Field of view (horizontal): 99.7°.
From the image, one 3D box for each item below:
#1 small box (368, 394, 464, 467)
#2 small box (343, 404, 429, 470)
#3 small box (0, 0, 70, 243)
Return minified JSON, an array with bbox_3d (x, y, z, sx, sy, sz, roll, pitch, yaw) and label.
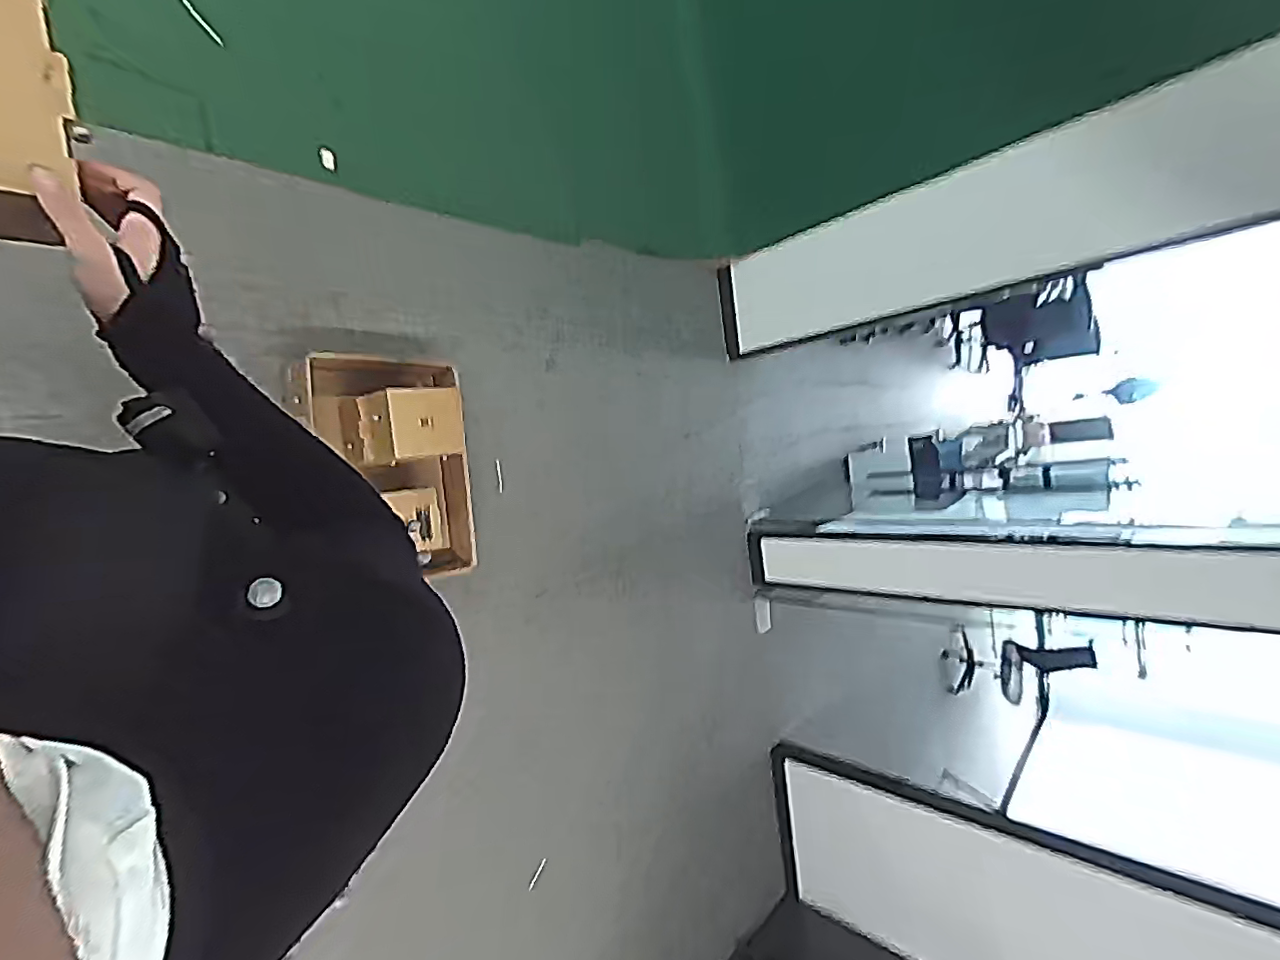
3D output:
[{"bbox_3d":[-0.576,-0.125,1.379,0.179,0.176,0.168,-10,95,-45],"label":"small box"},{"bbox_3d":[-0.699,-0.116,1.484,0.179,0.176,0.168,-8,95,-45],"label":"small box"},{"bbox_3d":[-0.548,-0.281,0.385,0.179,0.176,0.168,-11,102,-45],"label":"small box"}]
